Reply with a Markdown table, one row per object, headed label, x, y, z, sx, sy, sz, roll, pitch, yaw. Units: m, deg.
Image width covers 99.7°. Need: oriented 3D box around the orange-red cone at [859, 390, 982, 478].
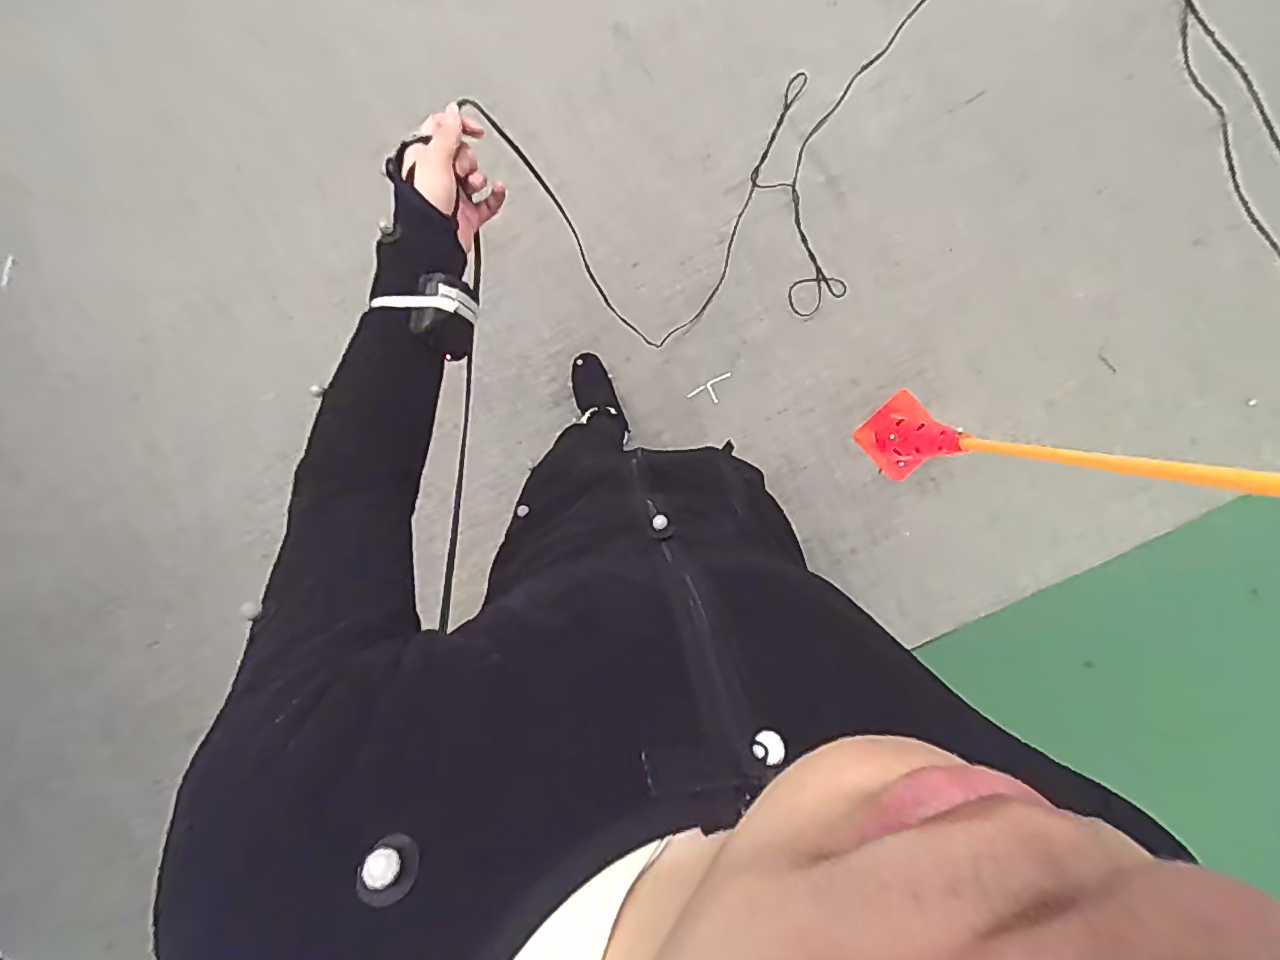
| label | x | y | z | sx | sy | sz | roll | pitch | yaw |
| --- | --- | --- | --- | --- | --- | --- | --- | --- | --- |
| orange-red cone | 0.746 | -0.110 | 1.371 | 0.199 | 0.360 | 0.198 | -42 | 94 | 6 |
